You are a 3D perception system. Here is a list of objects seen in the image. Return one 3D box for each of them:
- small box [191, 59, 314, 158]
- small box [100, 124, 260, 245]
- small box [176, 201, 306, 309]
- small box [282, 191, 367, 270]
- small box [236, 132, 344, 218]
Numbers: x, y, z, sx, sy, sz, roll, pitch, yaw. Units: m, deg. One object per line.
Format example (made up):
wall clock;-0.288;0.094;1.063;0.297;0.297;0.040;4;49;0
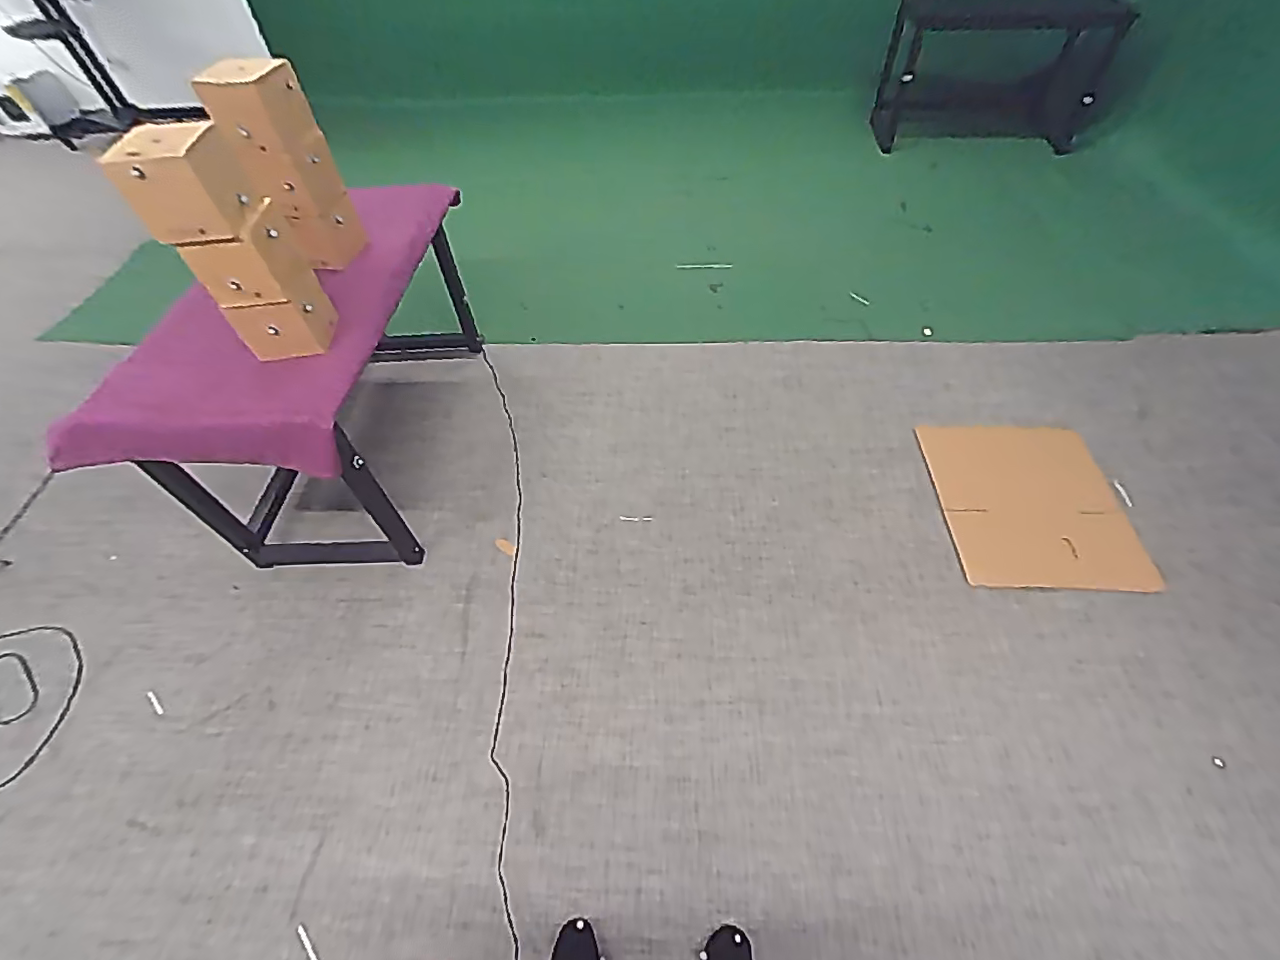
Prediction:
small box;-0.994;-0.968;1.411;0.168;0.176;0.179;4;53;5
small box;-0.951;-0.621;1.142;0.168;0.176;0.179;-6;52;0
small box;-0.928;-0.530;1.277;0.168;0.176;0.179;-7;53;-1
small box;-0.982;-0.771;1.671;0.168;0.176;0.179;5;52;7
small box;-0.985;-0.869;1.542;0.168;0.176;0.179;5;53;5
